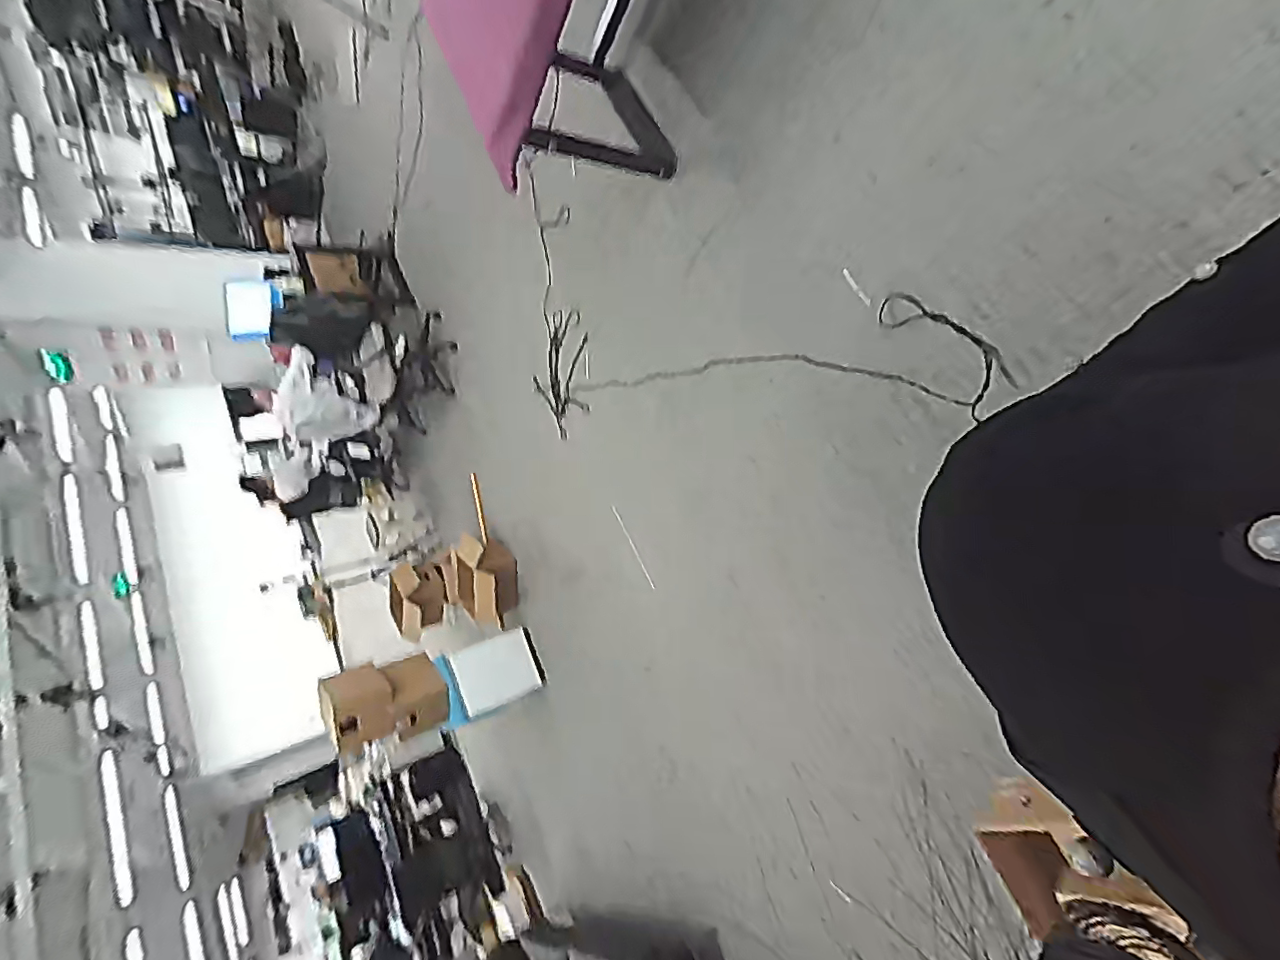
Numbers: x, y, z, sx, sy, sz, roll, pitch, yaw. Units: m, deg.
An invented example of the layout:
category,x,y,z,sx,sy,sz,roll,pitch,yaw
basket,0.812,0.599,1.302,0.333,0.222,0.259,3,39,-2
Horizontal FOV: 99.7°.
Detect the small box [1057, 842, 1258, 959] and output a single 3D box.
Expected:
category,x,y,z,sx,sy,sz,roll,pitch,yaw
small box,0.811,0.708,0.849,0.168,0.176,0.179,-38,70,50
